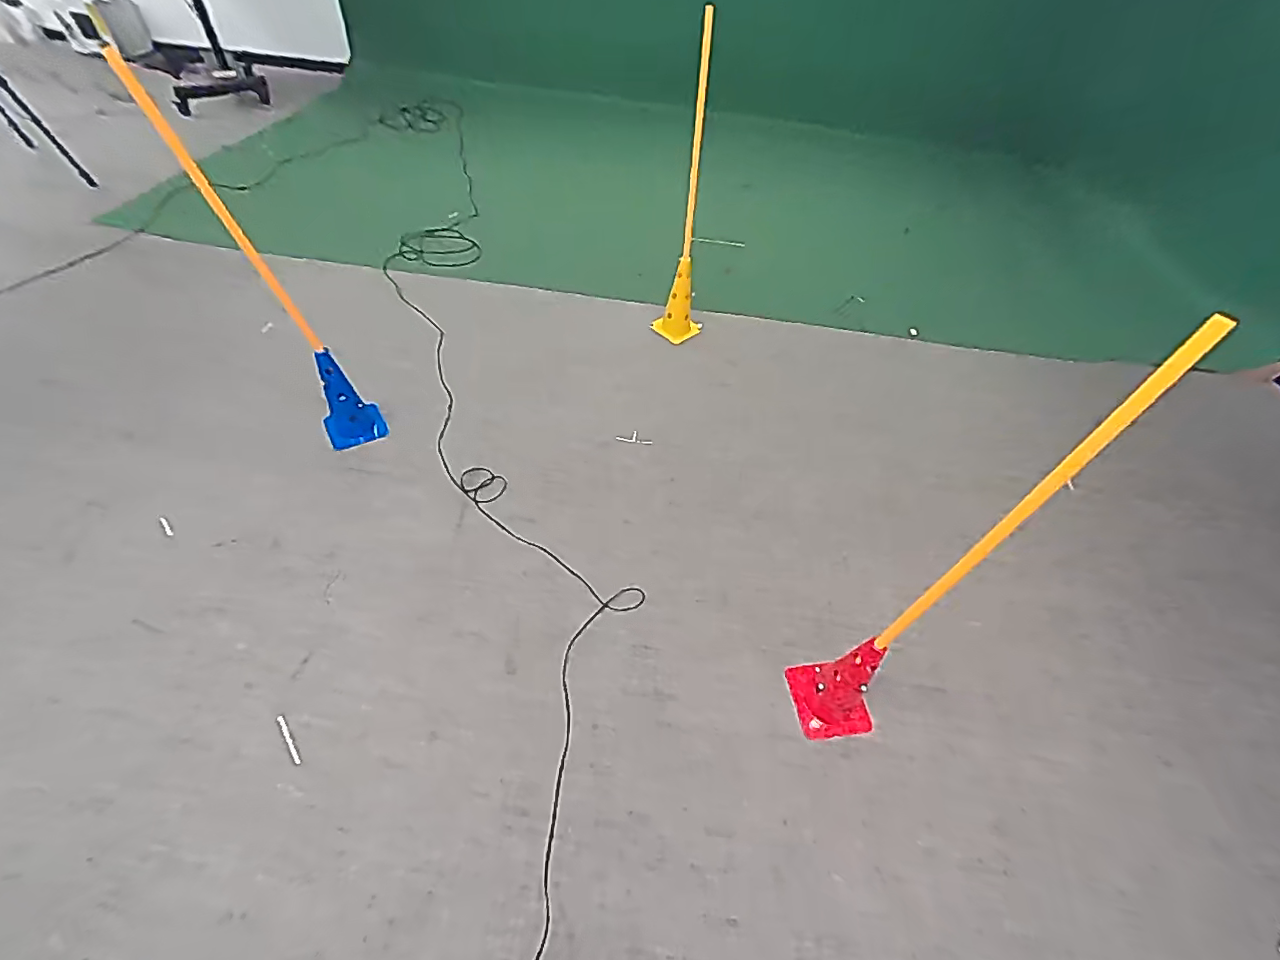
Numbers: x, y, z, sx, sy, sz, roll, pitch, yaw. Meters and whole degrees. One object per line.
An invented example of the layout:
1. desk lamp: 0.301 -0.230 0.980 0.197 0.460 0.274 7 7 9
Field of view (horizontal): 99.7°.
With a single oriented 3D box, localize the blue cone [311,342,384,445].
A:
1. blue cone: -1.066 -0.319 1.908 0.193 0.380 0.192 -26 57 -23
